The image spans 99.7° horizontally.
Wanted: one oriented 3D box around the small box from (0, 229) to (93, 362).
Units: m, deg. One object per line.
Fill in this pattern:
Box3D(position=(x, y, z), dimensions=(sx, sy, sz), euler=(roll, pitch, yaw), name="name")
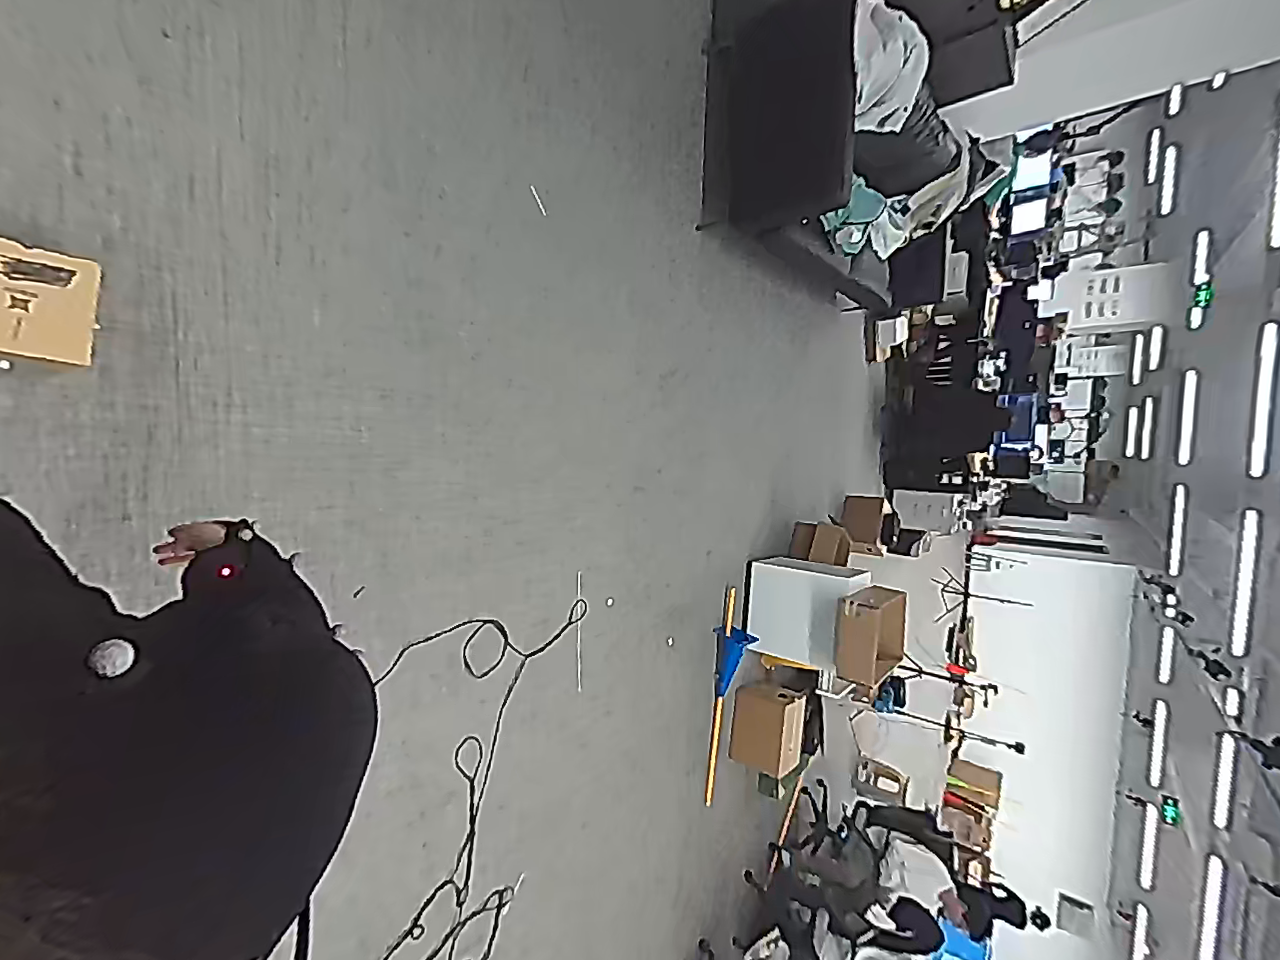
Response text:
Box3D(position=(-1.032, -0.299, 0.880), dimensions=(0.168, 0.176, 0.179), euler=(7, 90, -53), name="small box")
